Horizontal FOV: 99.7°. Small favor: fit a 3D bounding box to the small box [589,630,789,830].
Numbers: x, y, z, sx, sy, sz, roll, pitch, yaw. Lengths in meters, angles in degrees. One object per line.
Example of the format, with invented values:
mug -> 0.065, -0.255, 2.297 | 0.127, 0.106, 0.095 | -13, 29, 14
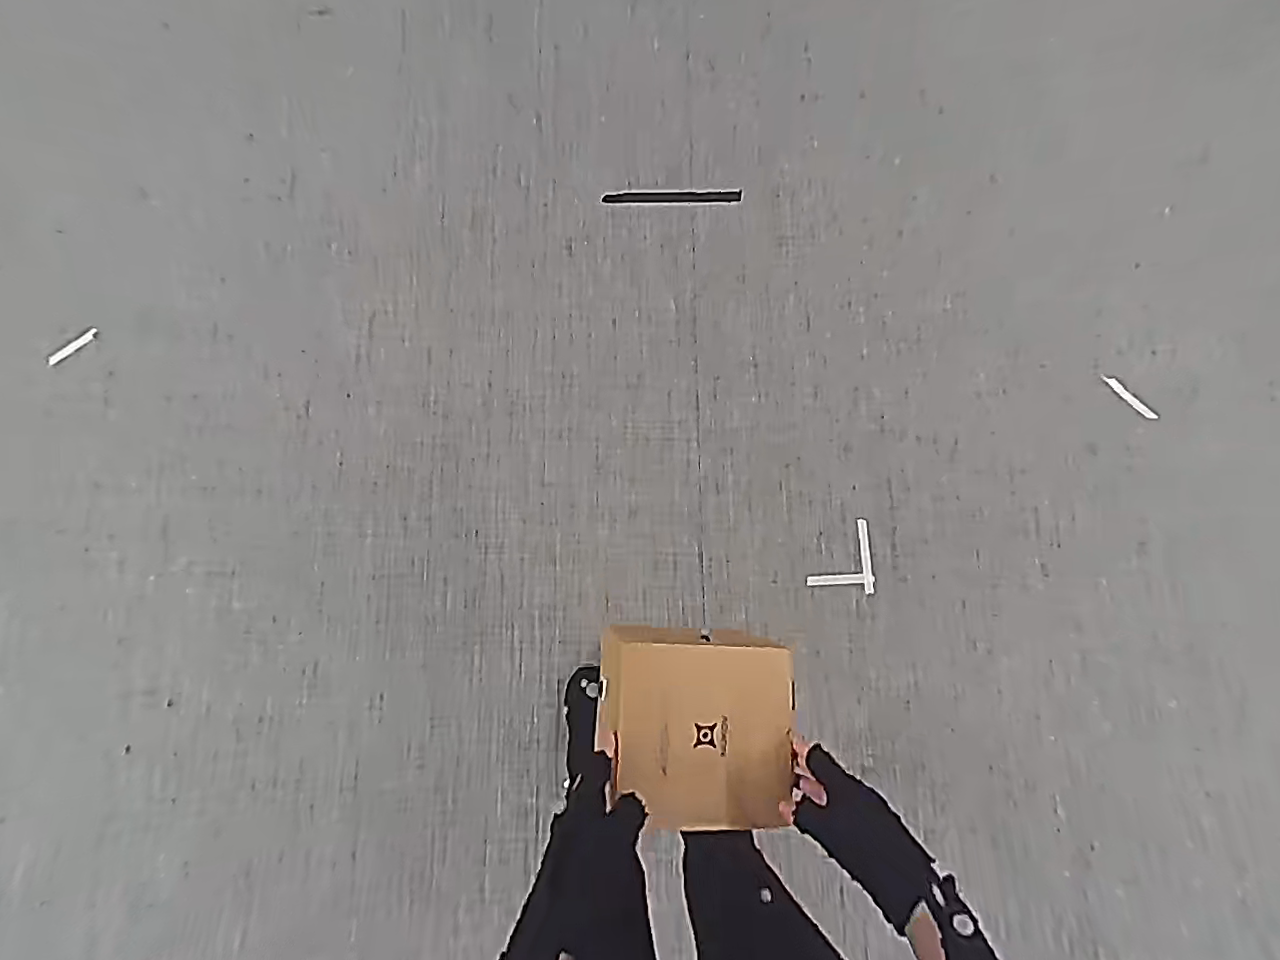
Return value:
small box -> 0.045, 0.258, 0.593 | 0.179, 0.176, 0.168 | 6, 78, -10
